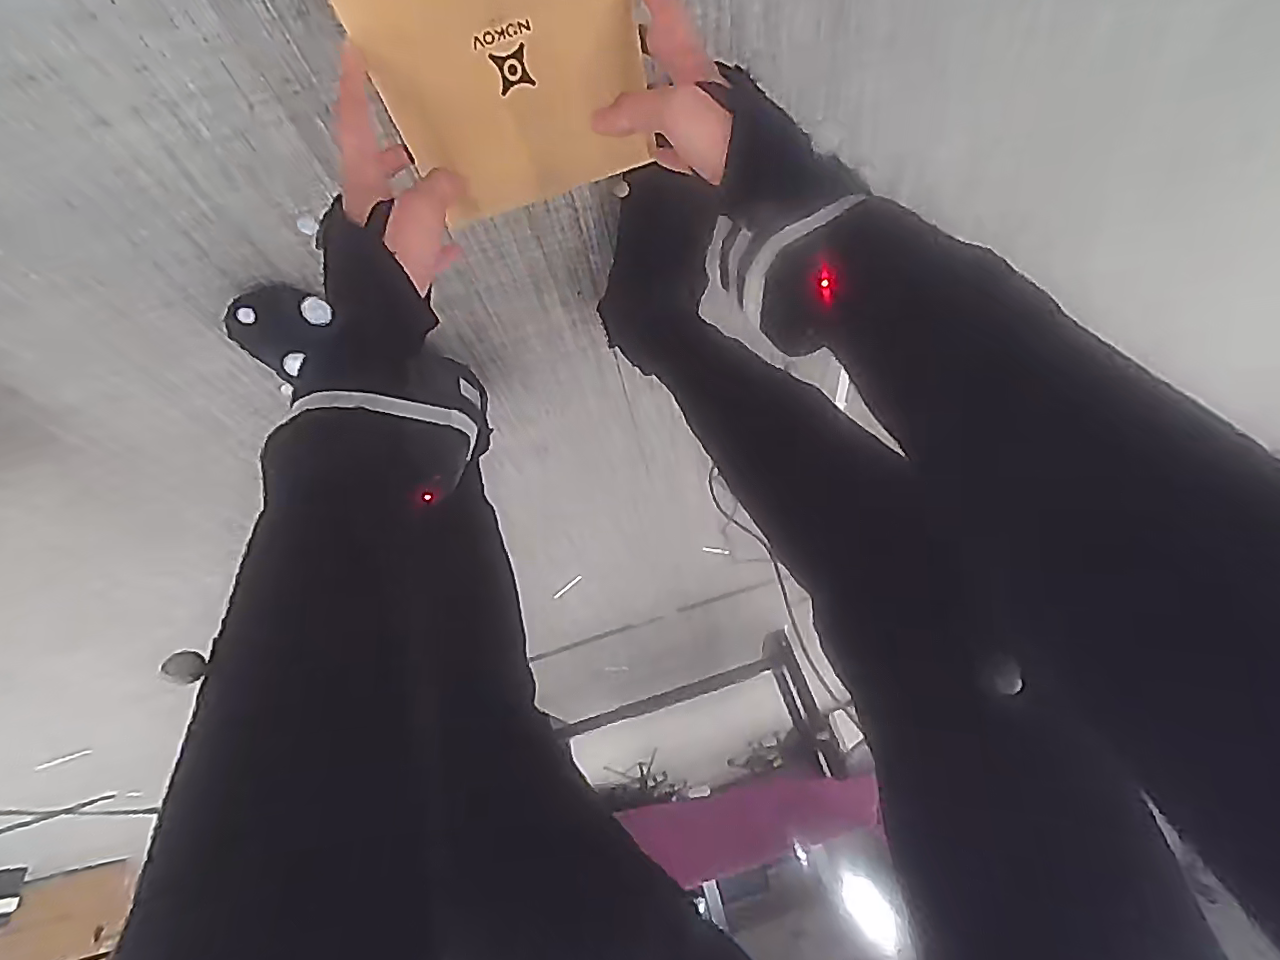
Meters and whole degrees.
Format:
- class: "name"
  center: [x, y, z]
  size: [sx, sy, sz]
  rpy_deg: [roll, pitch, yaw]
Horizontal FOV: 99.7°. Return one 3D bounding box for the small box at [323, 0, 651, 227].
- class: "small box"
  center: [-0.103, -0.320, 0.372]
  size: [0.168, 0.176, 0.179]
  rpy_deg: [-19, 147, 1]
